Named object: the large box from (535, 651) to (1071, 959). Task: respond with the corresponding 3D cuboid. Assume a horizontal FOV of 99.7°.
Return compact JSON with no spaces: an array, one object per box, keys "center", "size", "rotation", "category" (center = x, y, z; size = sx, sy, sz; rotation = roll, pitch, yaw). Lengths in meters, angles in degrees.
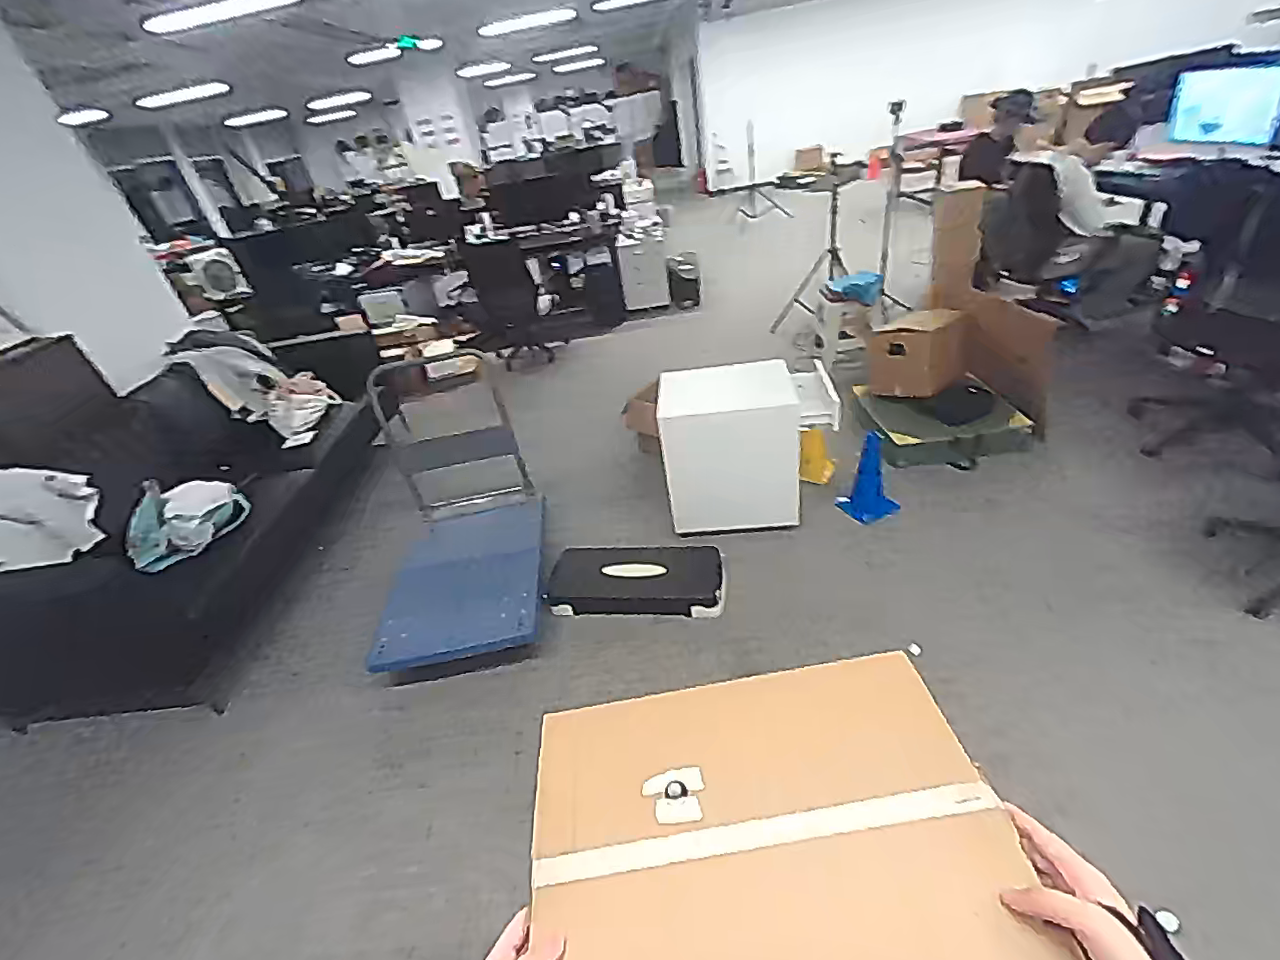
[{"center":[0.133,0.436,0.570],"size":[0.408,0.320,0.320],"rotation":[-13,34,3],"category":"large box"}]
